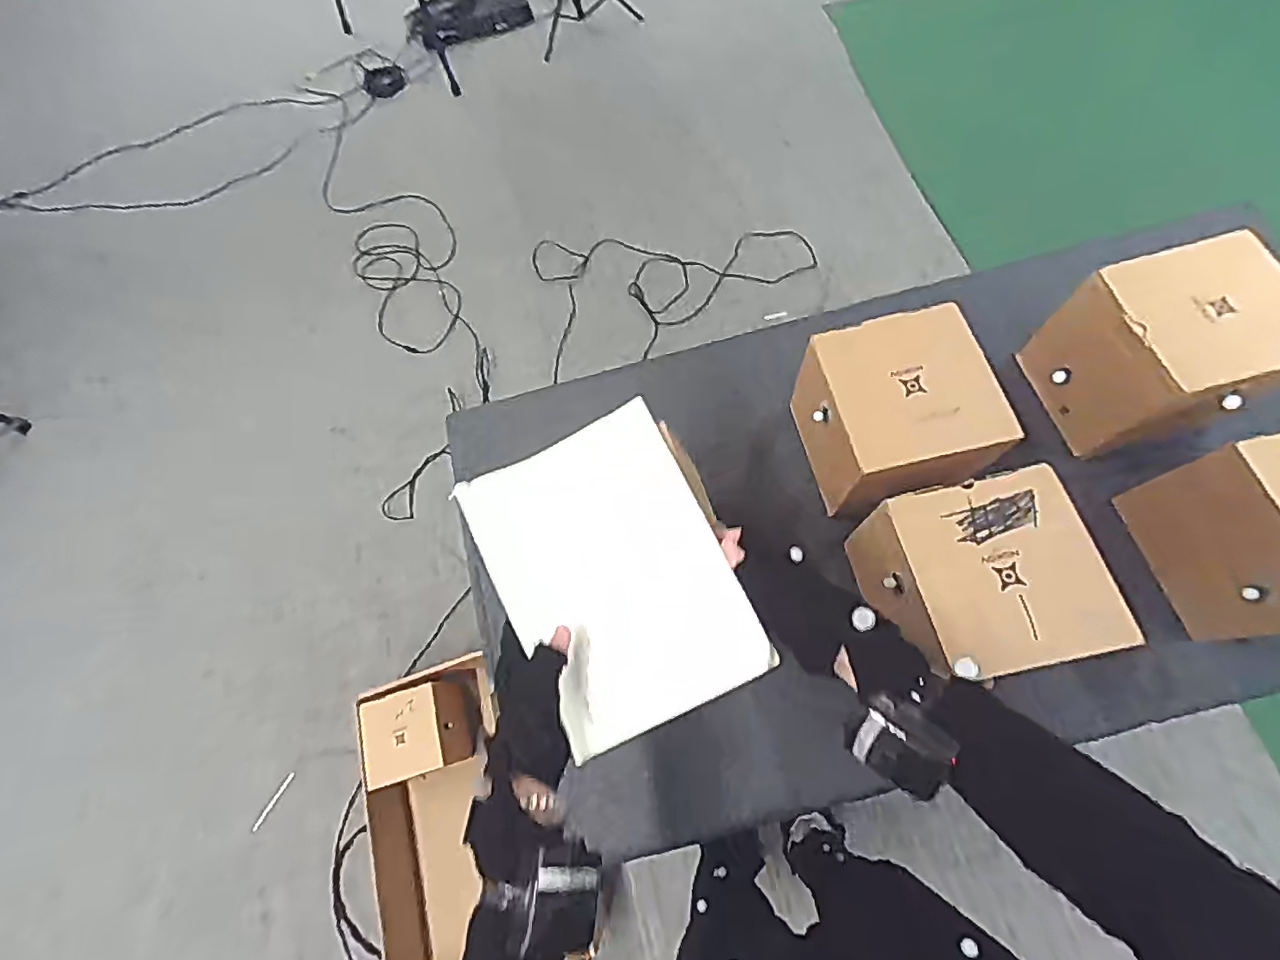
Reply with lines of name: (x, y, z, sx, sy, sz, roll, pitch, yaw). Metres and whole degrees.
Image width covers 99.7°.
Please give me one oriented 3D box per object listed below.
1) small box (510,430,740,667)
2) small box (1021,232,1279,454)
small box: (-0.005, 0.076, 0.568, 0.168, 0.176, 0.179, -24, 72, 10)
small box: (0.610, -0.150, 0.640, 0.179, 0.176, 0.168, -15, 68, 2)
